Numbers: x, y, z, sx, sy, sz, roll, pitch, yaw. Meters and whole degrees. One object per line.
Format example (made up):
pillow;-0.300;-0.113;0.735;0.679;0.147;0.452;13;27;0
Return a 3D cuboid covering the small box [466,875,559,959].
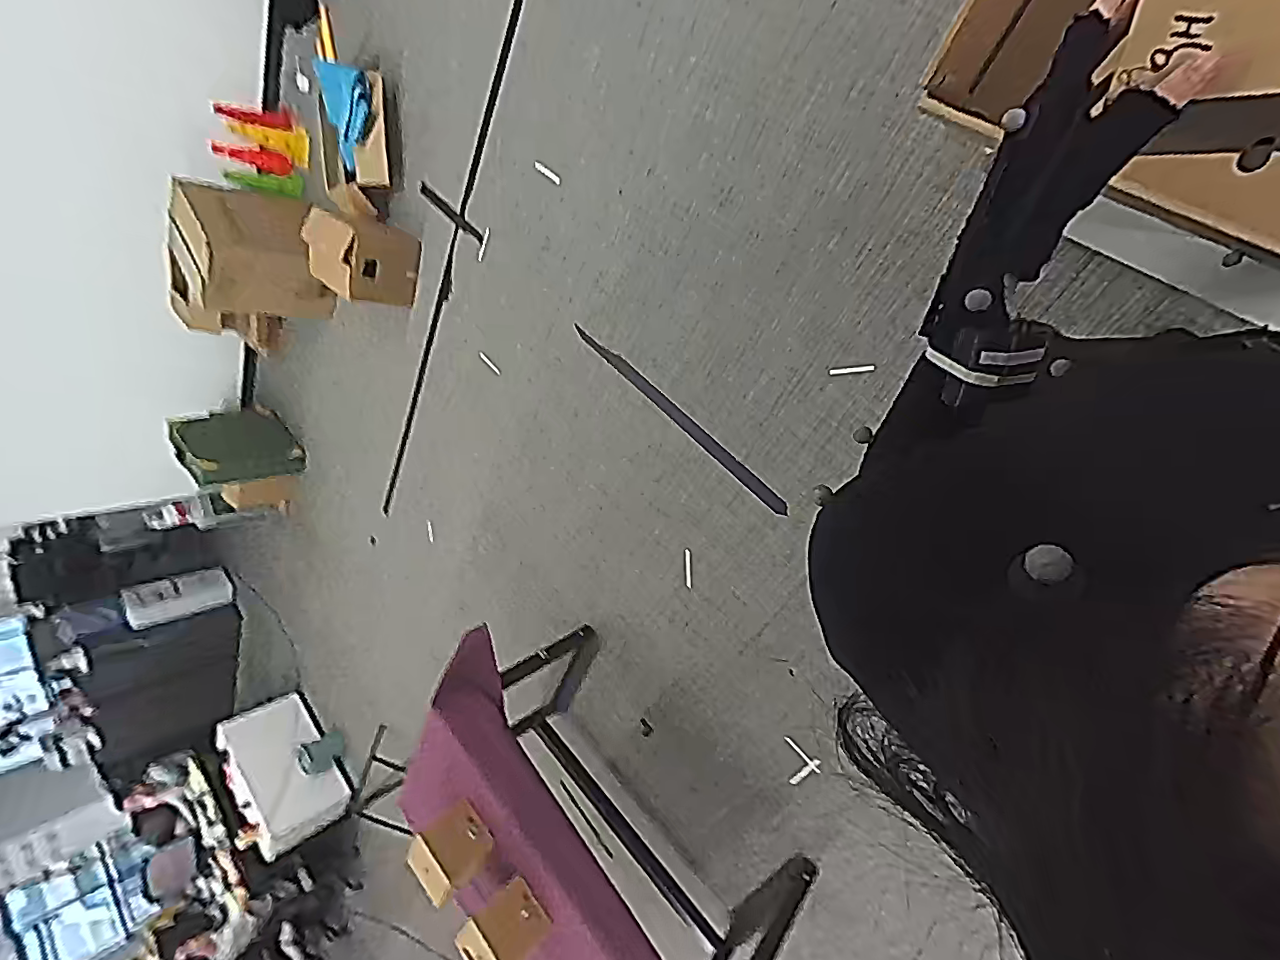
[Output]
small box;-0.353;1.261;1.506;0.168;0.176;0.179;41;122;24

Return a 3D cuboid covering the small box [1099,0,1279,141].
small box;0.389;-0.298;0.295;0.179;0.176;0.168;19;118;34

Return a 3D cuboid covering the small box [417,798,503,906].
small box;-0.539;1.112;1.625;0.168;0.176;0.179;39;121;25
